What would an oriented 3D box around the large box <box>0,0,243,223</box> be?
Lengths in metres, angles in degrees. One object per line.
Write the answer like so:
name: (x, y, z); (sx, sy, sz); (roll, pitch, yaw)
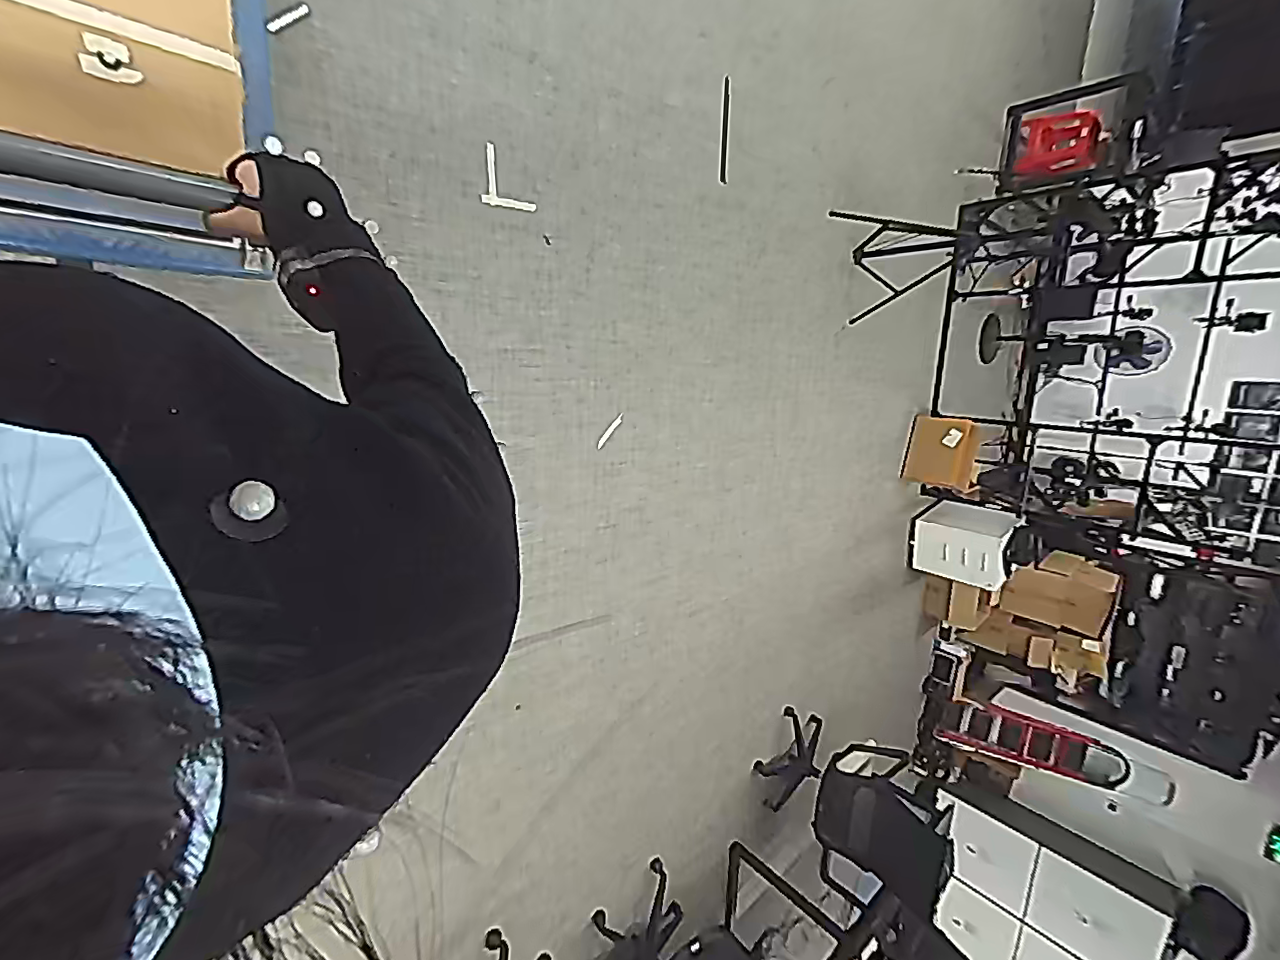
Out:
large box: (-0.829, -0.581, 0.743); (0.408, 0.320, 0.320); (-7, 105, -42)
